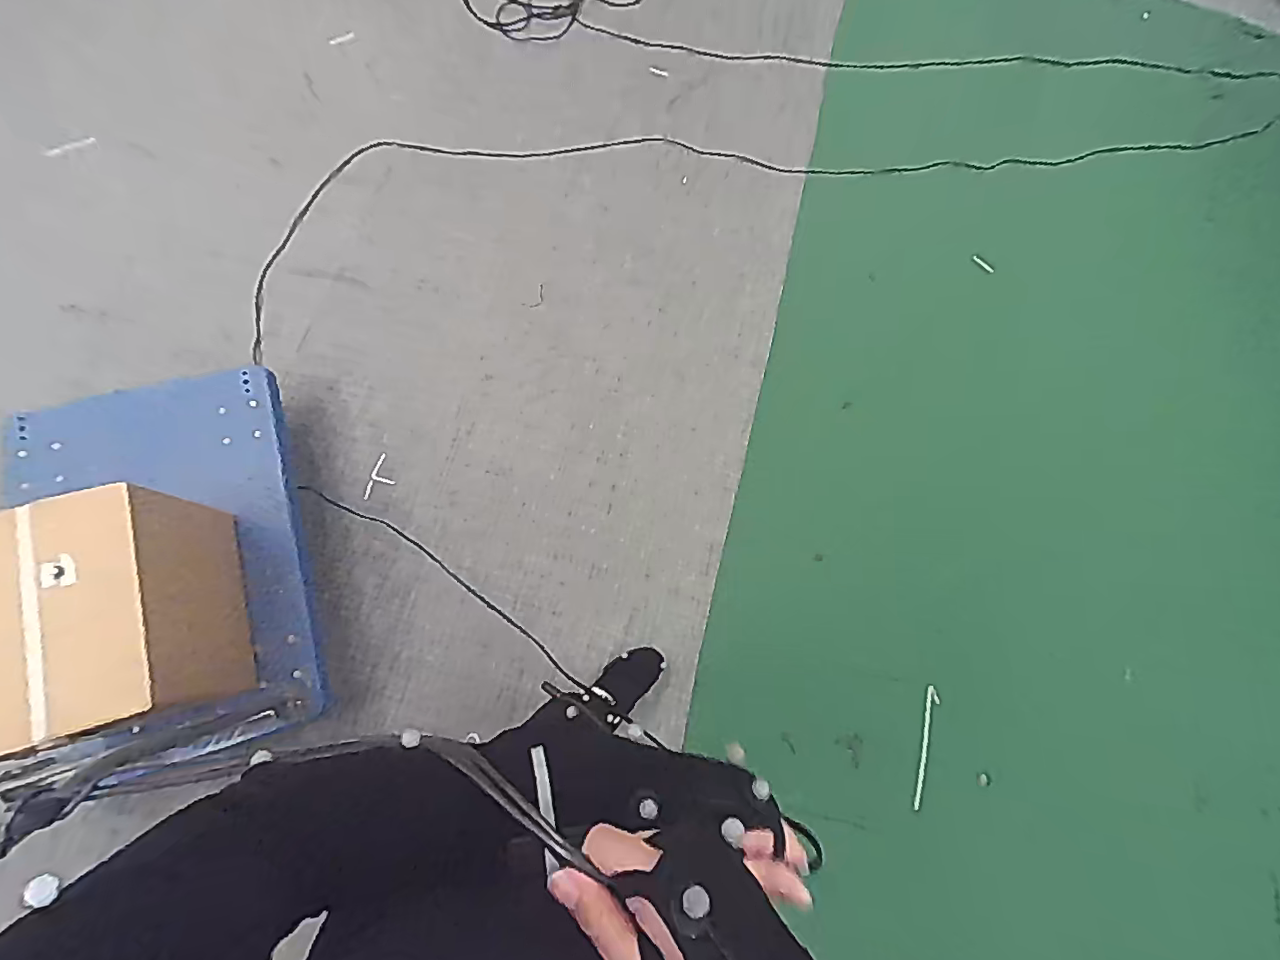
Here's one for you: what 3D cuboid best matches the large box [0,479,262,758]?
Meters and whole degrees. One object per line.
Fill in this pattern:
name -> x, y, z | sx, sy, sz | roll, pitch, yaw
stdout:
large box -> -1.005, 0.260, 1.045 | 0.320, 0.320, 0.408 | -16, 77, -10
